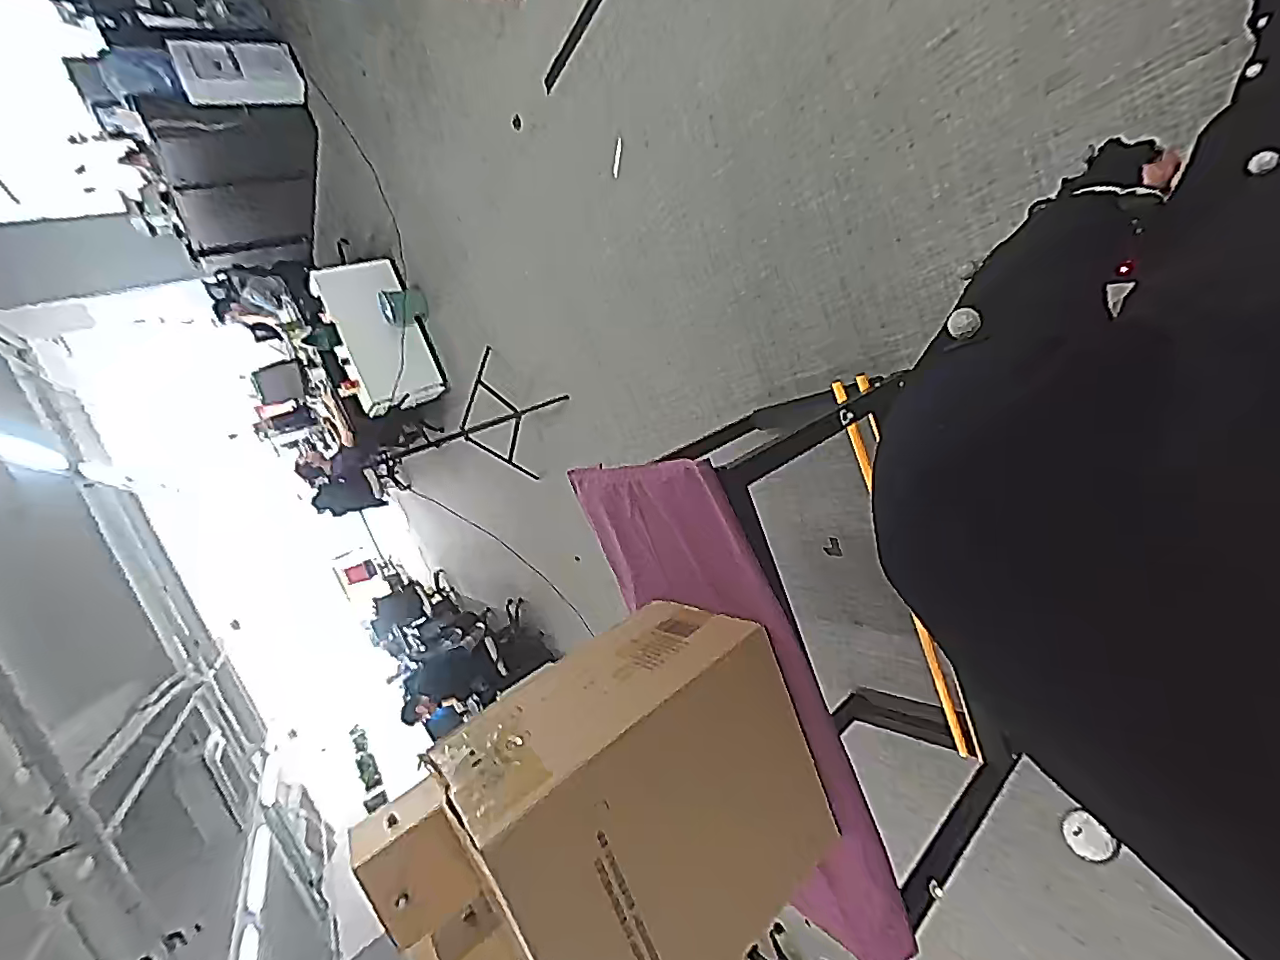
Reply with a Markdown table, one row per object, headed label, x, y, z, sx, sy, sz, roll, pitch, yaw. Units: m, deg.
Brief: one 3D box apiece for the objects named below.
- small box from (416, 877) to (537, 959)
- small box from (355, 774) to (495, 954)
| label | x | y | z | sx | sy | sz | roll | pitch | yaw |
| --- | --- | --- | --- | --- | --- | --- | --- | --- | --- |
| small box | -0.298 | 0.906 | 1.014 | 0.168 | 0.176 | 0.179 | -10 | 102 | 56 |
| small box | -0.393 | 0.683 | 0.990 | 0.168 | 0.176 | 0.179 | -17 | 100 | 59 |
